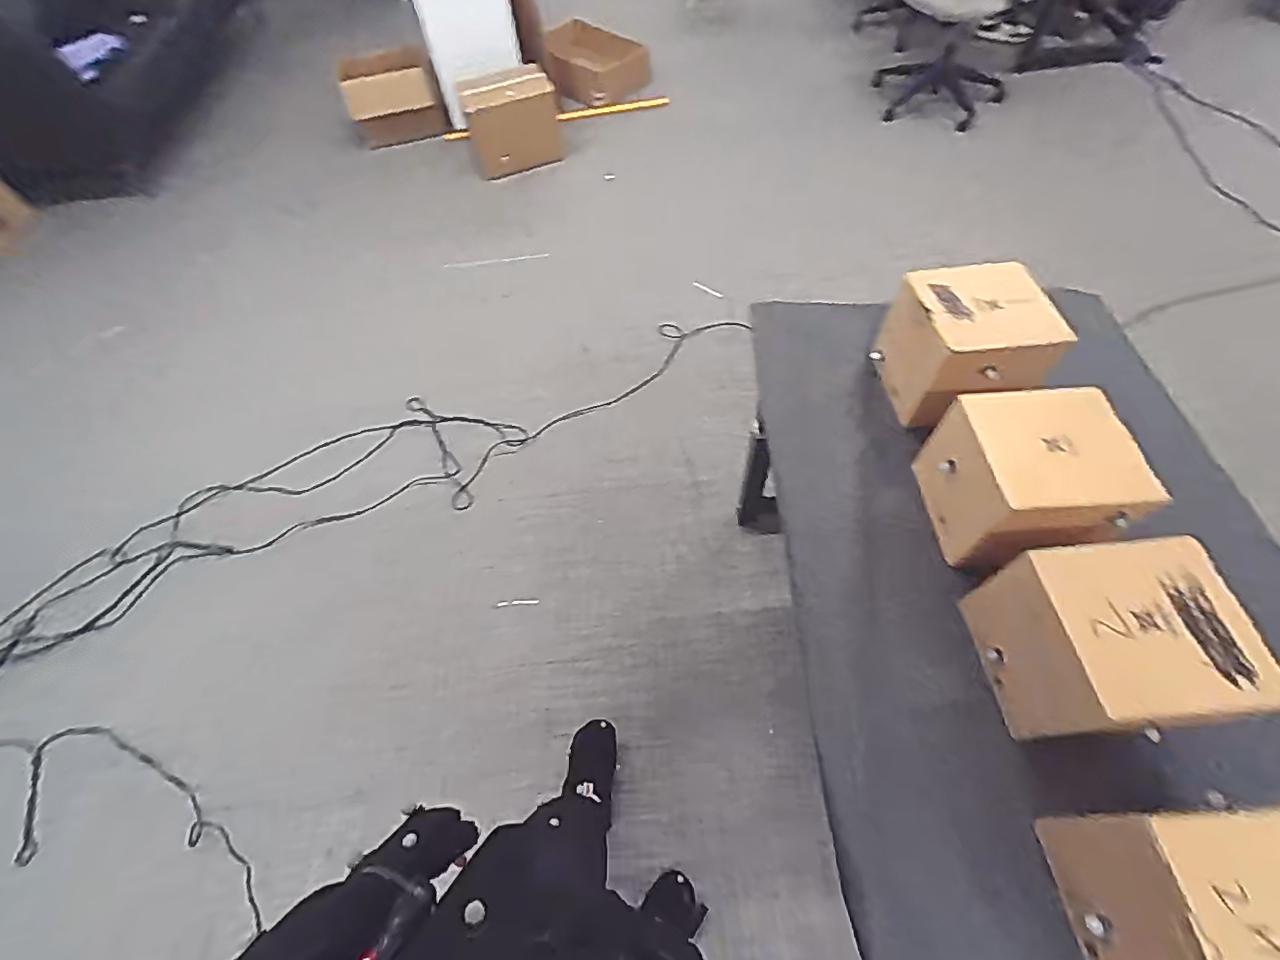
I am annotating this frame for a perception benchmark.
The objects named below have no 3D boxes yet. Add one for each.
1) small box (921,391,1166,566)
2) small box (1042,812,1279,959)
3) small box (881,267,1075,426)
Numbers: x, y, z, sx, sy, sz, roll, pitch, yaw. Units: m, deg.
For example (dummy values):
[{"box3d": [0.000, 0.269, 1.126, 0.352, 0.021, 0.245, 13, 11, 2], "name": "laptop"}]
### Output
[{"box3d": [0.494, 0.004, 0.704, 0.179, 0.176, 0.168, -3, 58, 1], "name": "small box"}, {"box3d": [0.506, 0.383, 0.463, 0.179, 0.176, 0.168, -3, 57, 1], "name": "small box"}, {"box3d": [0.492, -0.197, 0.828, 0.179, 0.176, 0.168, -6, 58, -1], "name": "small box"}]
